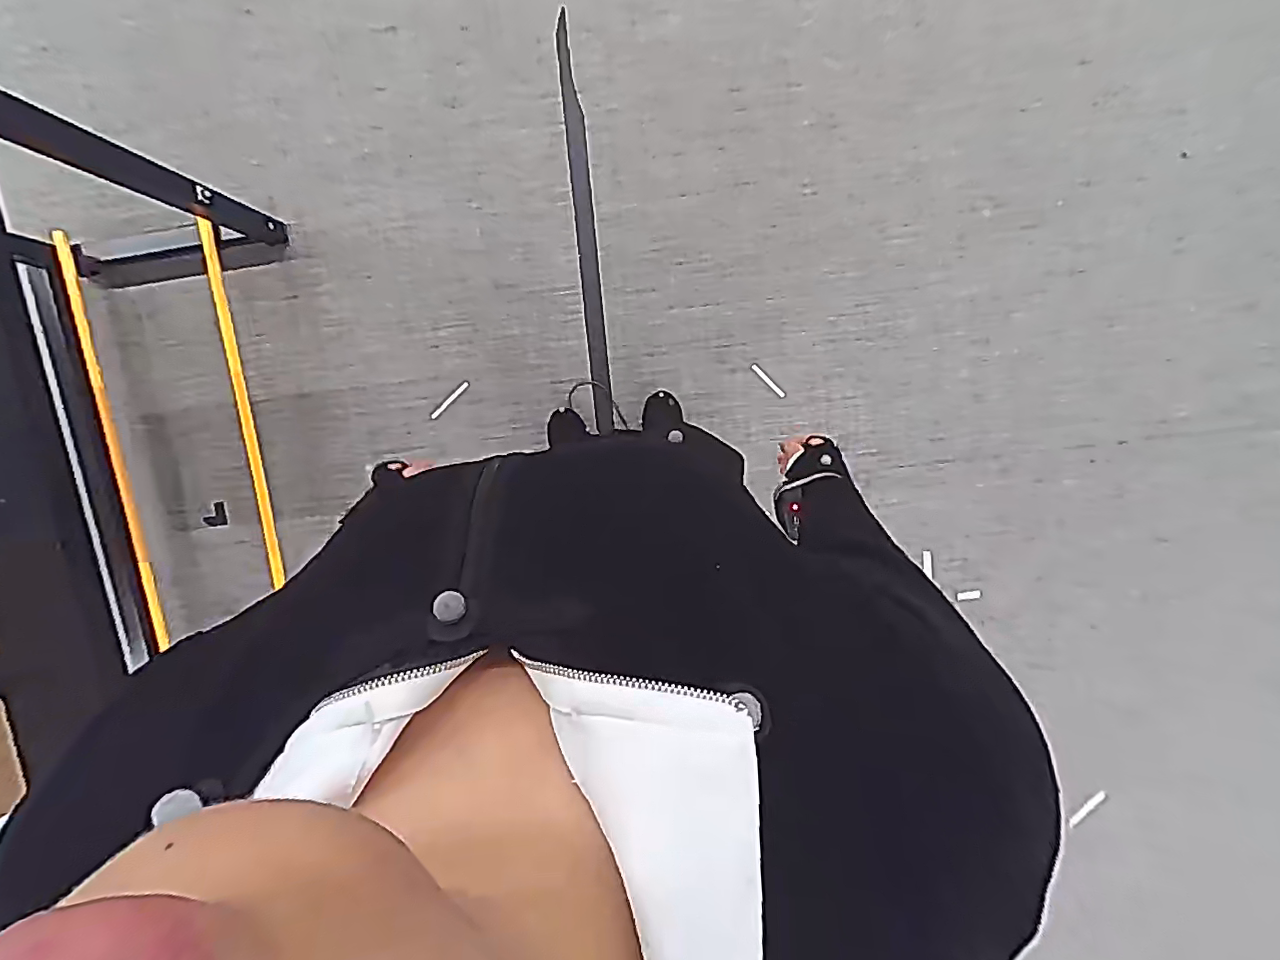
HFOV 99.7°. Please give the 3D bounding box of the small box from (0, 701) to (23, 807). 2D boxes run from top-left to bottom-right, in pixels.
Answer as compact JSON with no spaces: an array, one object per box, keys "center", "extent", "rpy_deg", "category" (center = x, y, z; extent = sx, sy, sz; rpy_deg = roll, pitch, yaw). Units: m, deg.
[{"center":[-1.041,0.423,0.756],"extent":[0.168,0.176,0.179],"rpy_deg":[-6,98,2],"category":"small box"}]
